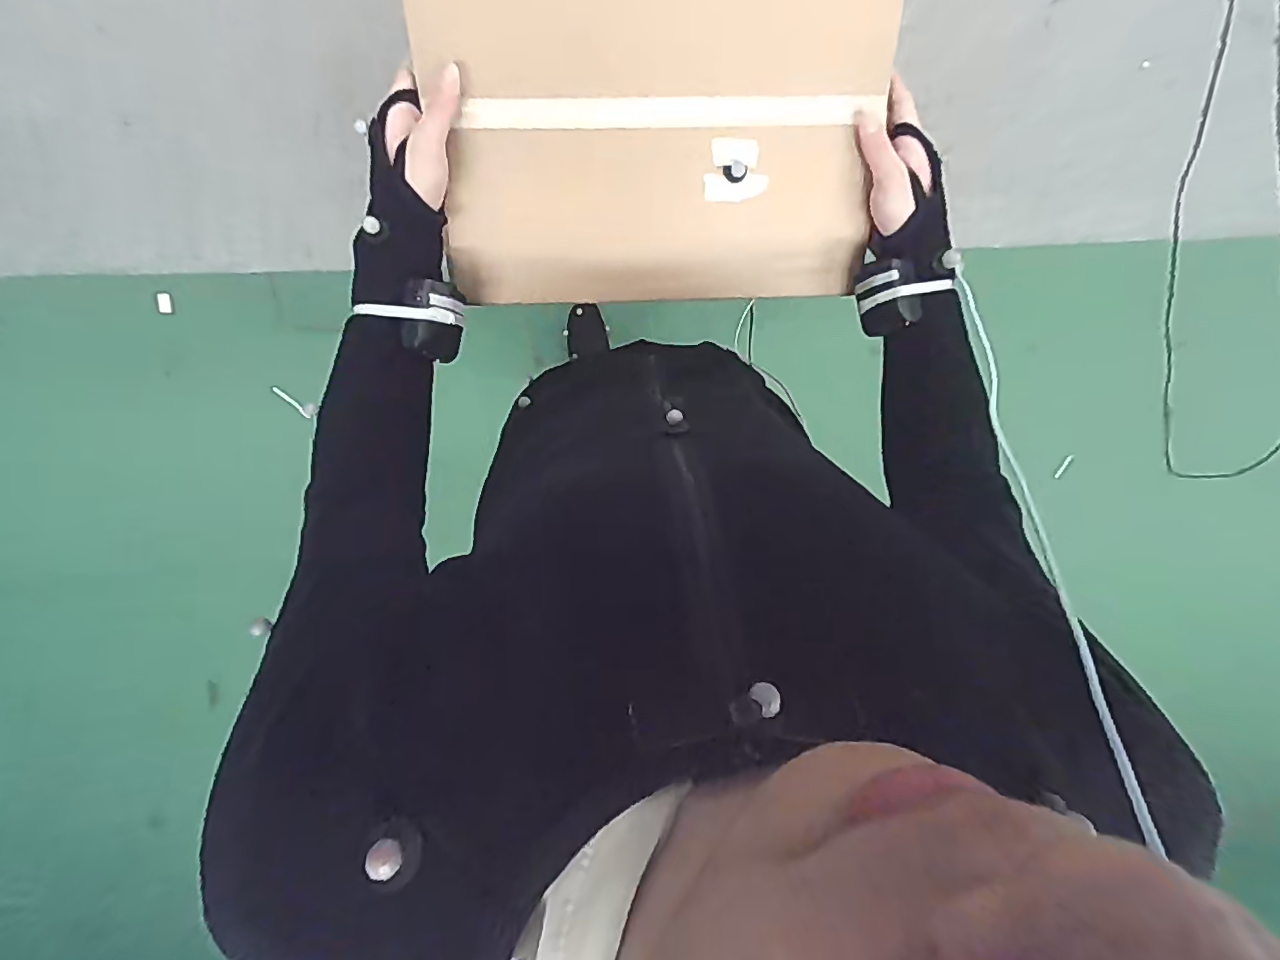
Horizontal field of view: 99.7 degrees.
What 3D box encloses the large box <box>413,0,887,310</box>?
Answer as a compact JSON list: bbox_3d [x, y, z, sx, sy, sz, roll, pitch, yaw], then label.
[{"bbox_3d":[0.001,-0.382,0.620,0.408,0.320,0.320,-3,115,-5],"label":"large box"}]
